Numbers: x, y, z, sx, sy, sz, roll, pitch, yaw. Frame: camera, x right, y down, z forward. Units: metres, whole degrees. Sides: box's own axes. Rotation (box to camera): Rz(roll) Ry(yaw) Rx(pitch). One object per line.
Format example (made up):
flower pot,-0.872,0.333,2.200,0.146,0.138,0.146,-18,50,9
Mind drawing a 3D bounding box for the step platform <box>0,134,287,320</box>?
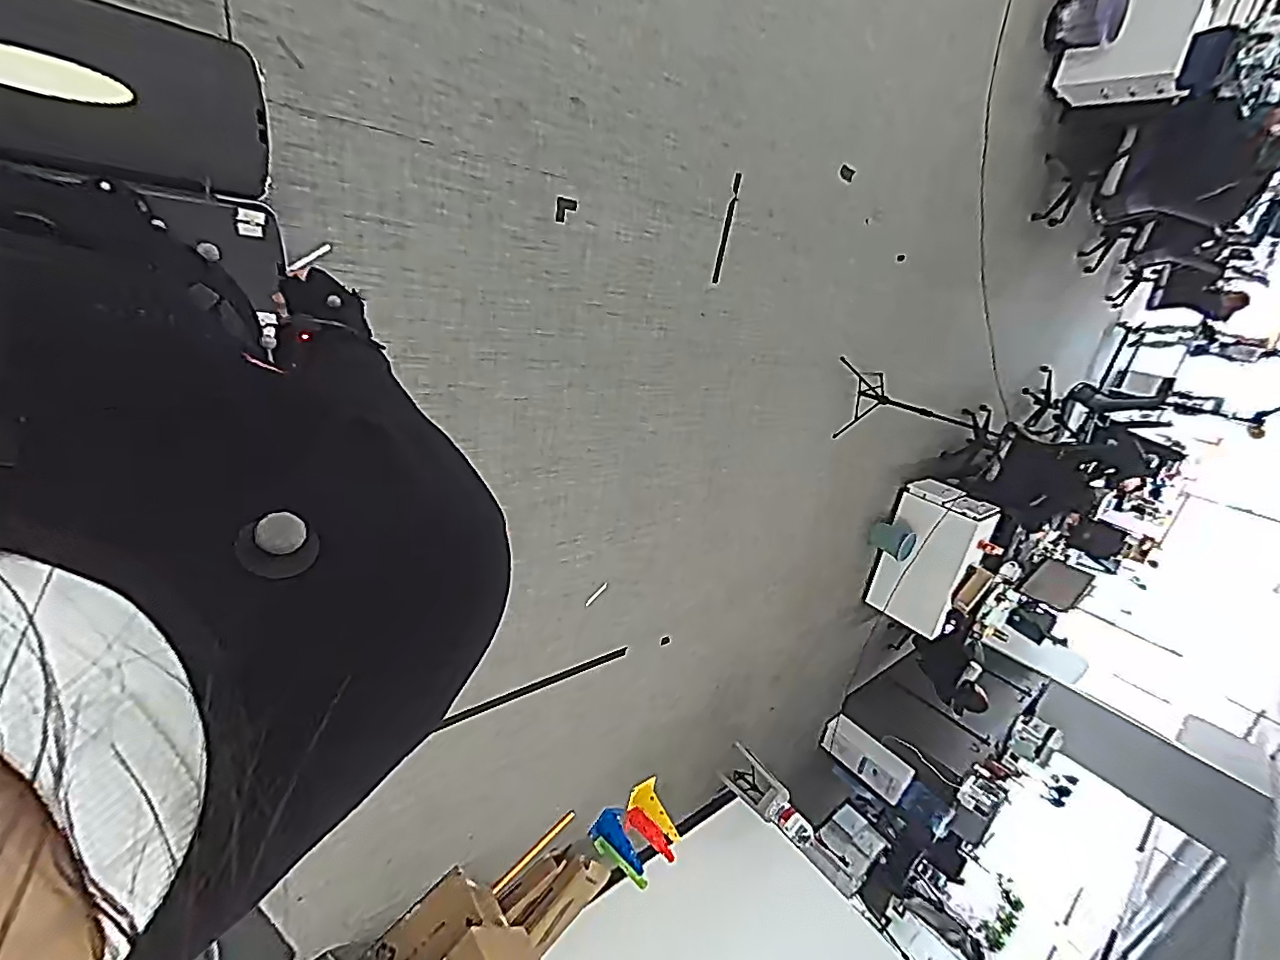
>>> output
step platform,-1.069,-0.469,1.013,0.684,0.204,0.286,-9,118,-38
